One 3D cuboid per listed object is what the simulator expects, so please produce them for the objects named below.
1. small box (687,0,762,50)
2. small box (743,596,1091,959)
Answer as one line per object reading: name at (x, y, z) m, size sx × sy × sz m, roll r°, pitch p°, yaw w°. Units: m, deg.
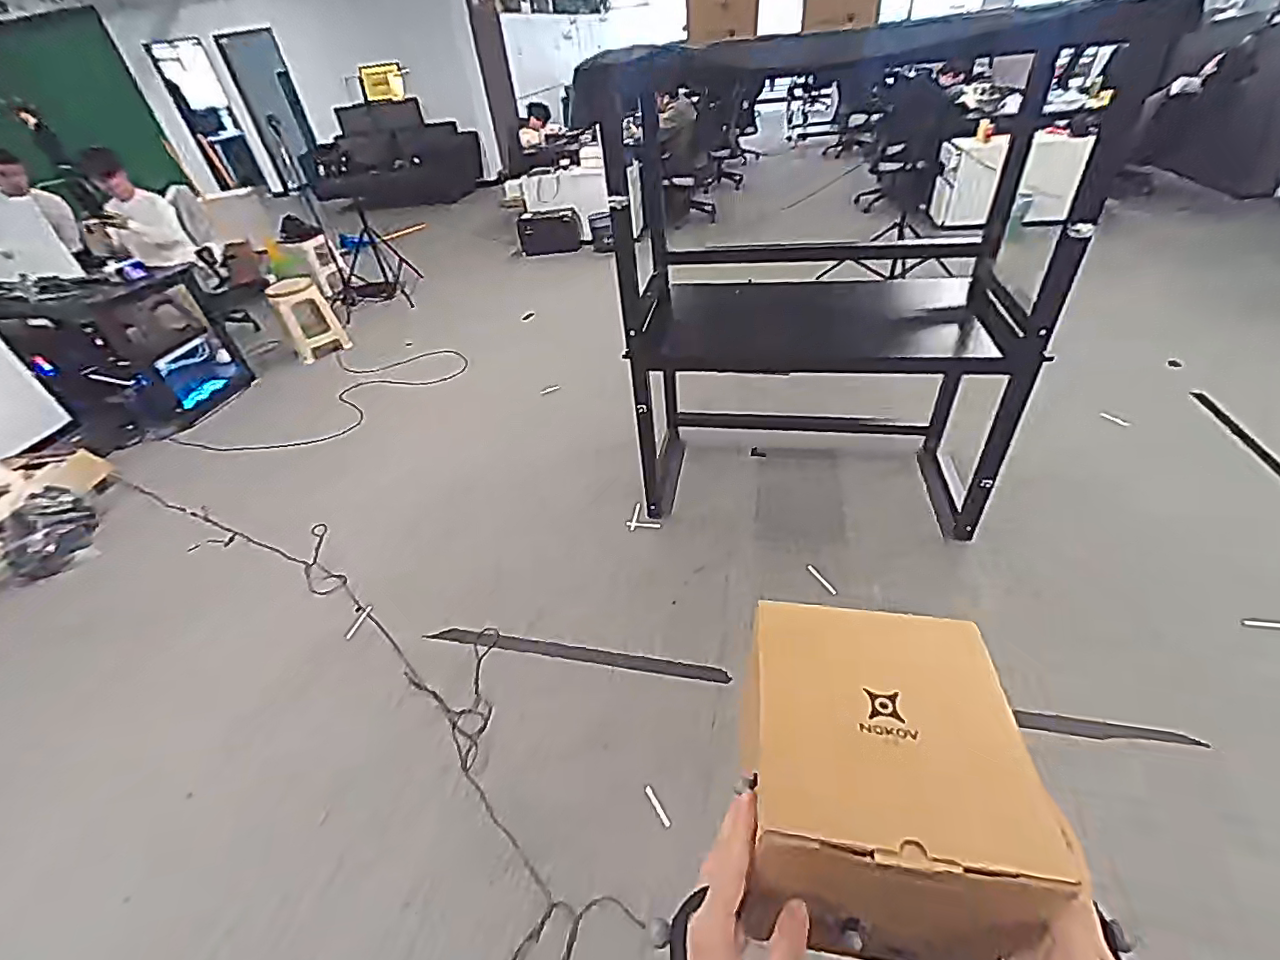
small box at (0.195, -1.108, 1.246) m, size 0.168 × 0.176 × 0.179 m, roll 1°, pitch 39°, yaw 9°
small box at (0.166, 0.215, 0.400) m, size 0.168 × 0.176 × 0.179 m, roll 4°, pitch 36°, yaw 9°
